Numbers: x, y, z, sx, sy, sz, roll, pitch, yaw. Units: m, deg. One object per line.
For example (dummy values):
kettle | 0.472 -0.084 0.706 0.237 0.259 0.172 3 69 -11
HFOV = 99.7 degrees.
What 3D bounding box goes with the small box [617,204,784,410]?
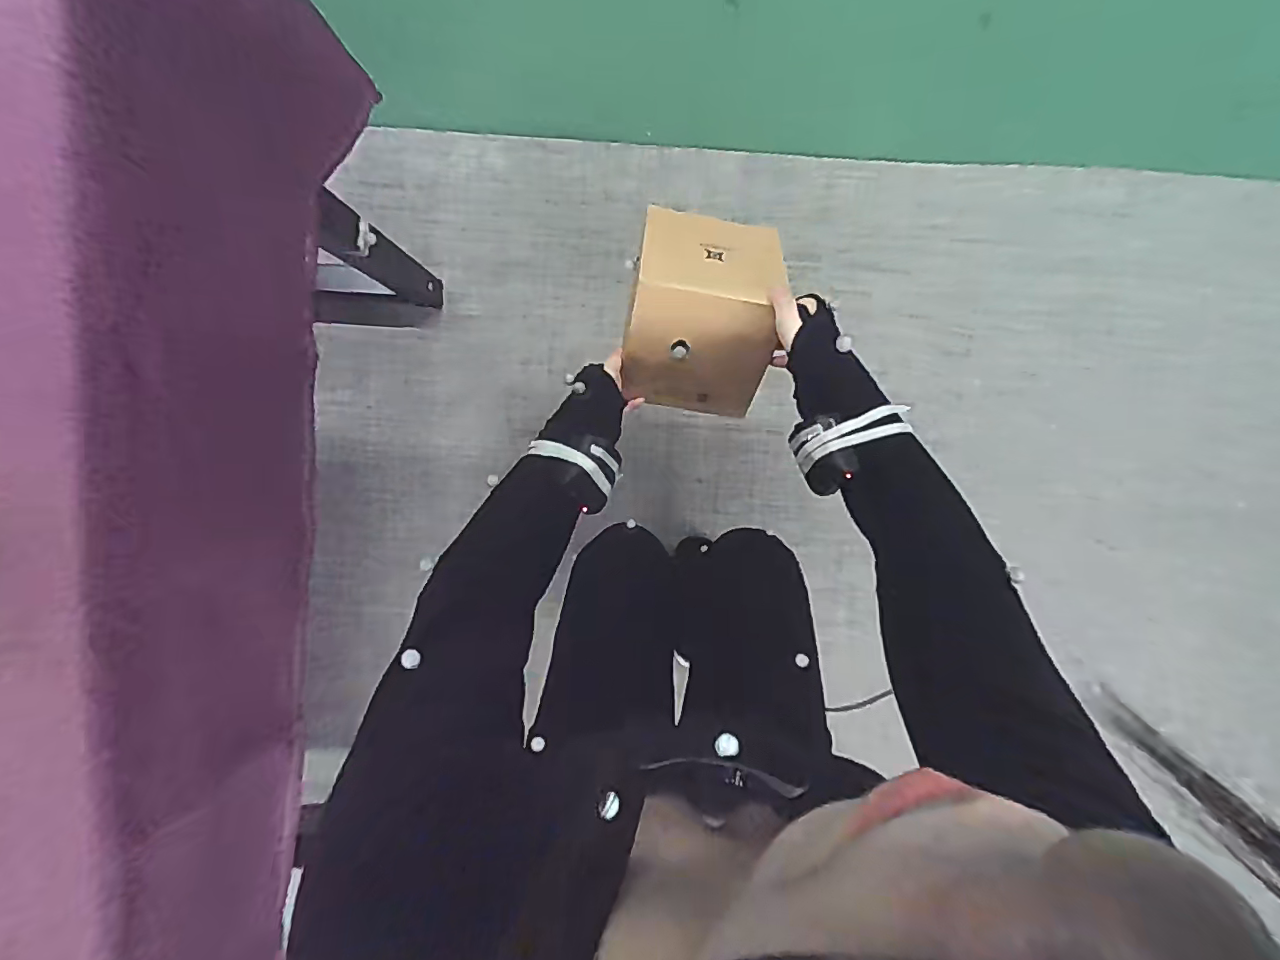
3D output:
small box | 0.065 -0.211 0.677 0.168 0.179 0.176 8 140 -6
